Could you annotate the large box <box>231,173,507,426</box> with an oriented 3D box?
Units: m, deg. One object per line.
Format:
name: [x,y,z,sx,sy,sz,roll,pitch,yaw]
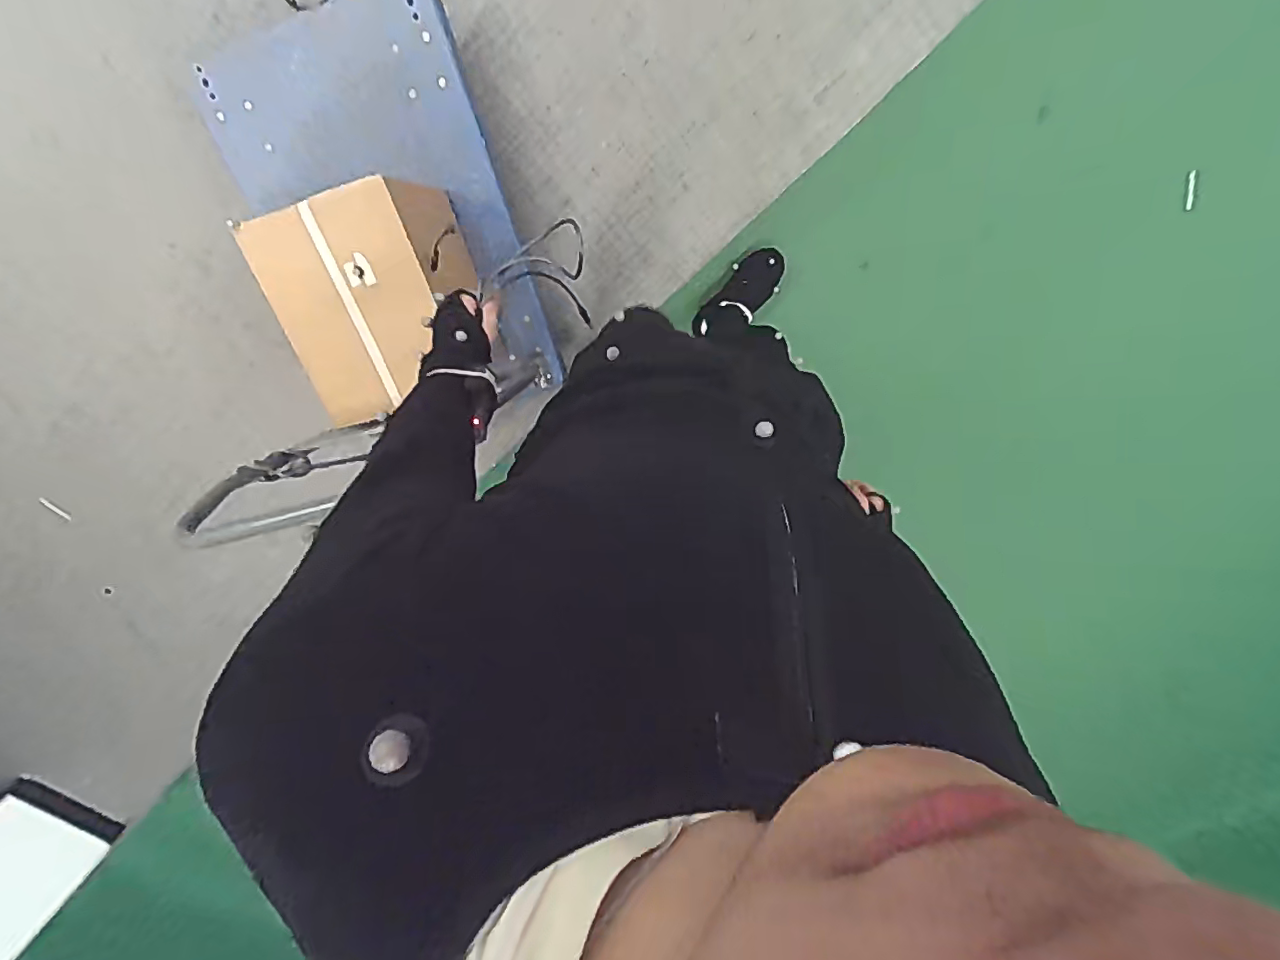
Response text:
large box: [-0.538,-0.381,1.169,0.320,0.320,0.408,-15,112,8]
